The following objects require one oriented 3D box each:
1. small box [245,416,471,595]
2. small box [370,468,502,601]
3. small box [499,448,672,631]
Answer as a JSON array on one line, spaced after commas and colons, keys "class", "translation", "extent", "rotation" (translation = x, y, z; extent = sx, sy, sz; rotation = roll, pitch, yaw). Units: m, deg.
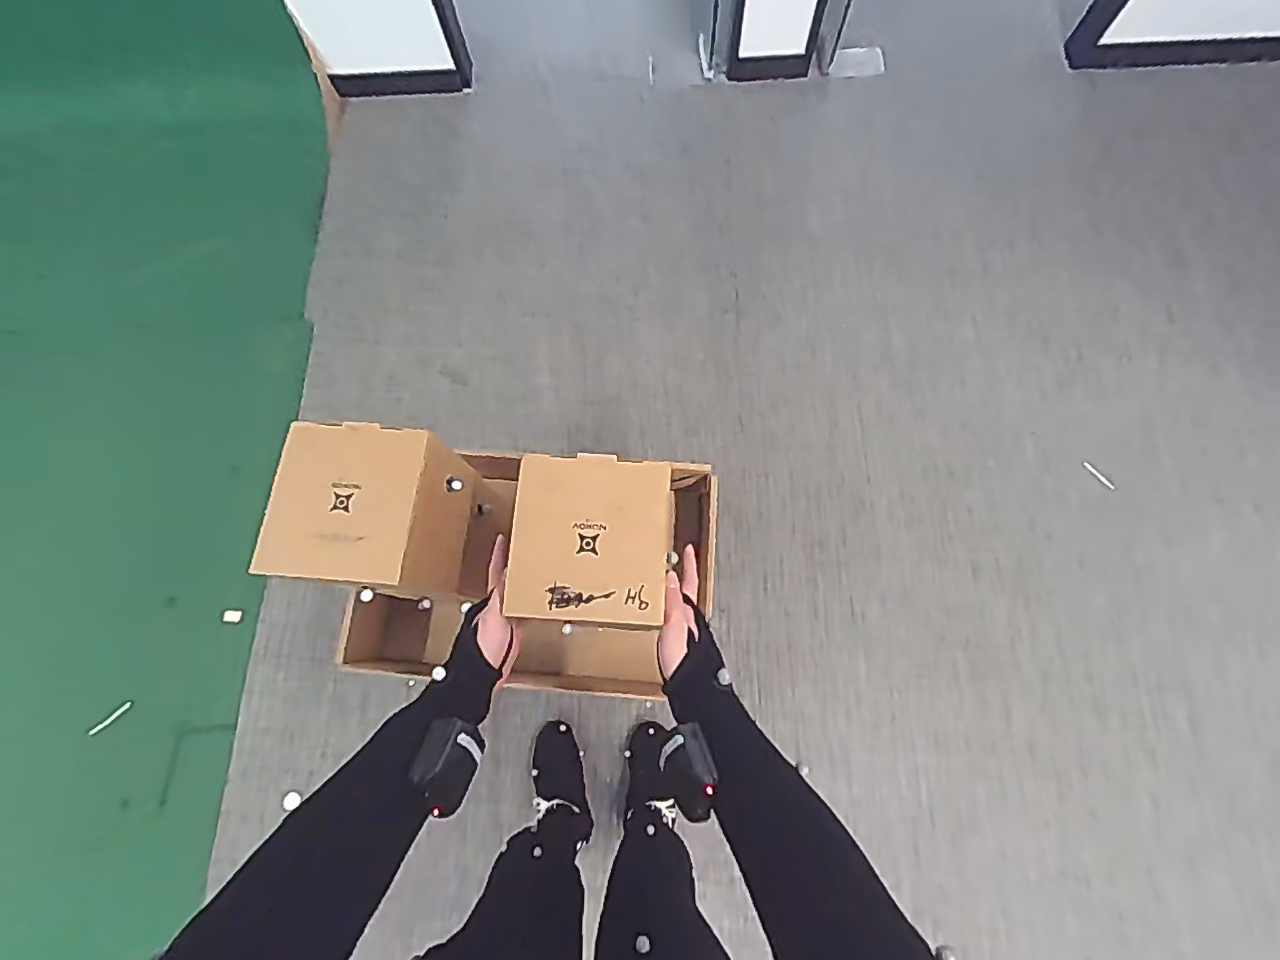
[{"class": "small box", "translation": [-0.322, 0.039, 0.660], "extent": [0.168, 0.176, 0.179], "rotation": [4, 74, 4]}, {"class": "small box", "translation": [-0.317, 0.084, 0.817], "extent": [0.168, 0.176, 0.179], "rotation": [3, 74, 4]}, {"class": "small box", "translation": [-0.054, 0.078, 0.634], "extent": [0.168, 0.176, 0.179], "rotation": [4, 72, 1]}]
